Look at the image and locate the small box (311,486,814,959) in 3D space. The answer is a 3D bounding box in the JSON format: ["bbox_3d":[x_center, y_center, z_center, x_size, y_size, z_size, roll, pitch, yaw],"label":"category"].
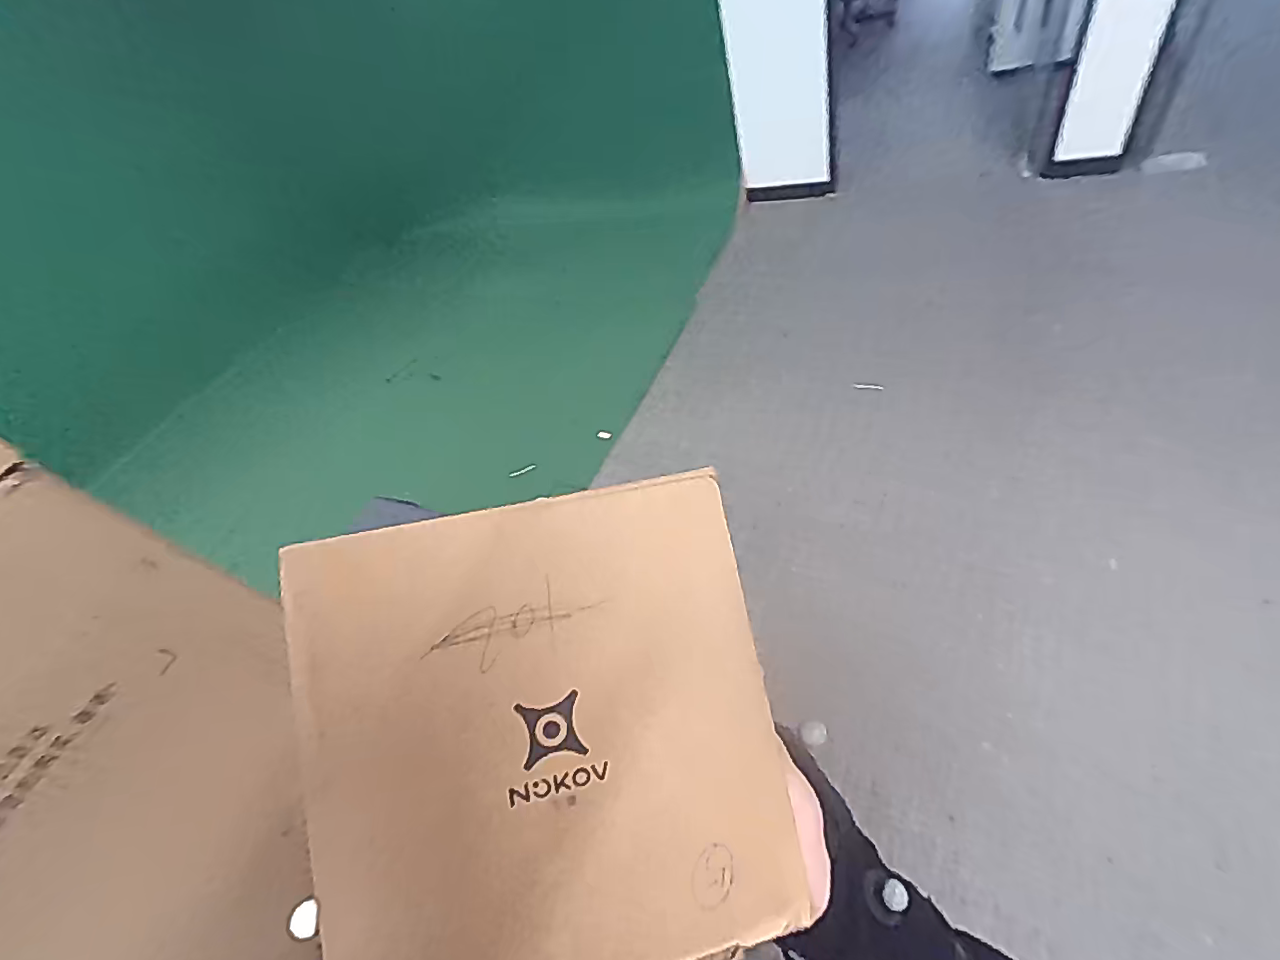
[{"bbox_3d":[-0.040,0.112,0.279,0.168,0.176,0.179,-10,81,-11],"label":"small box"}]
